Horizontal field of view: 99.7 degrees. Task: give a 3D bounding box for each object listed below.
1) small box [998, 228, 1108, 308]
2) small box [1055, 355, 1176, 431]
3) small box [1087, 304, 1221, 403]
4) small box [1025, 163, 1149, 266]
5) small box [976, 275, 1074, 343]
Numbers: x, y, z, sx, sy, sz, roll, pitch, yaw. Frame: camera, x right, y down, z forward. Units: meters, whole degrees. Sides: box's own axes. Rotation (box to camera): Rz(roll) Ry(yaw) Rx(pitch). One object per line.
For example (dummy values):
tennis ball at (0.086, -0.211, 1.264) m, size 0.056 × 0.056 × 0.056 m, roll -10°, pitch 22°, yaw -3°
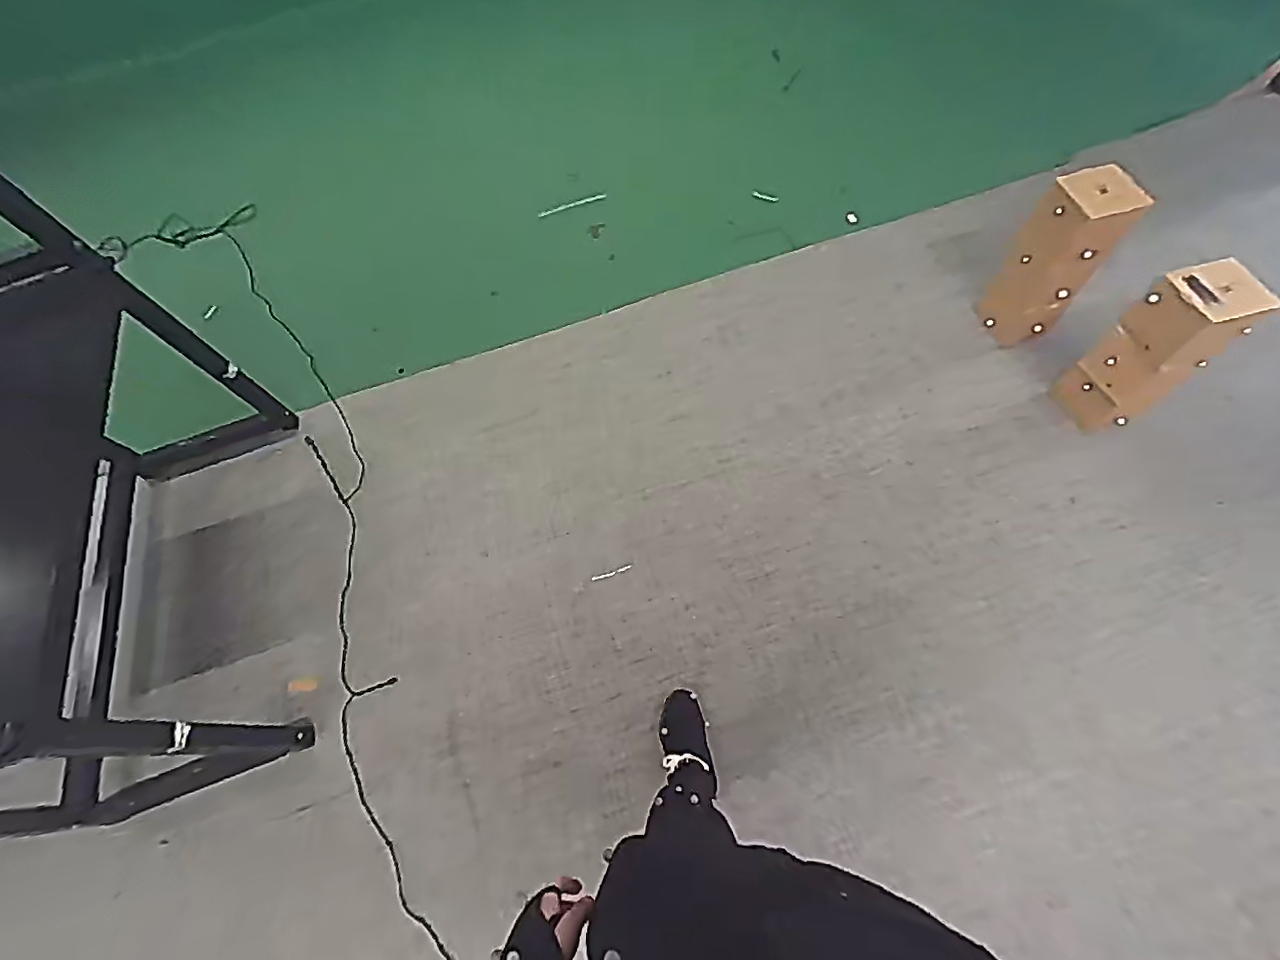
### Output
small box at (1.238, -0.655, 1.640) m, size 0.168 × 0.176 × 0.179 m, roll -15°, pitch 63°, yaw 0°
small box at (1.403, -0.276, 1.613) m, size 0.168 × 0.176 × 0.179 m, roll -18°, pitch 64°, yaw -1°
small box at (1.370, -0.337, 1.466) m, size 0.179 × 0.176 × 0.168 m, roll -21°, pitch 63°, yaw -4°
small box at (1.220, -0.730, 1.496) m, size 0.168 × 0.176 × 0.179 m, roll -14°, pitch 63°, yaw 1°
small box at (1.259, -0.576, 1.783) m, size 0.168 × 0.176 × 0.179 m, roll -16°, pitch 64°, yaw -1°
